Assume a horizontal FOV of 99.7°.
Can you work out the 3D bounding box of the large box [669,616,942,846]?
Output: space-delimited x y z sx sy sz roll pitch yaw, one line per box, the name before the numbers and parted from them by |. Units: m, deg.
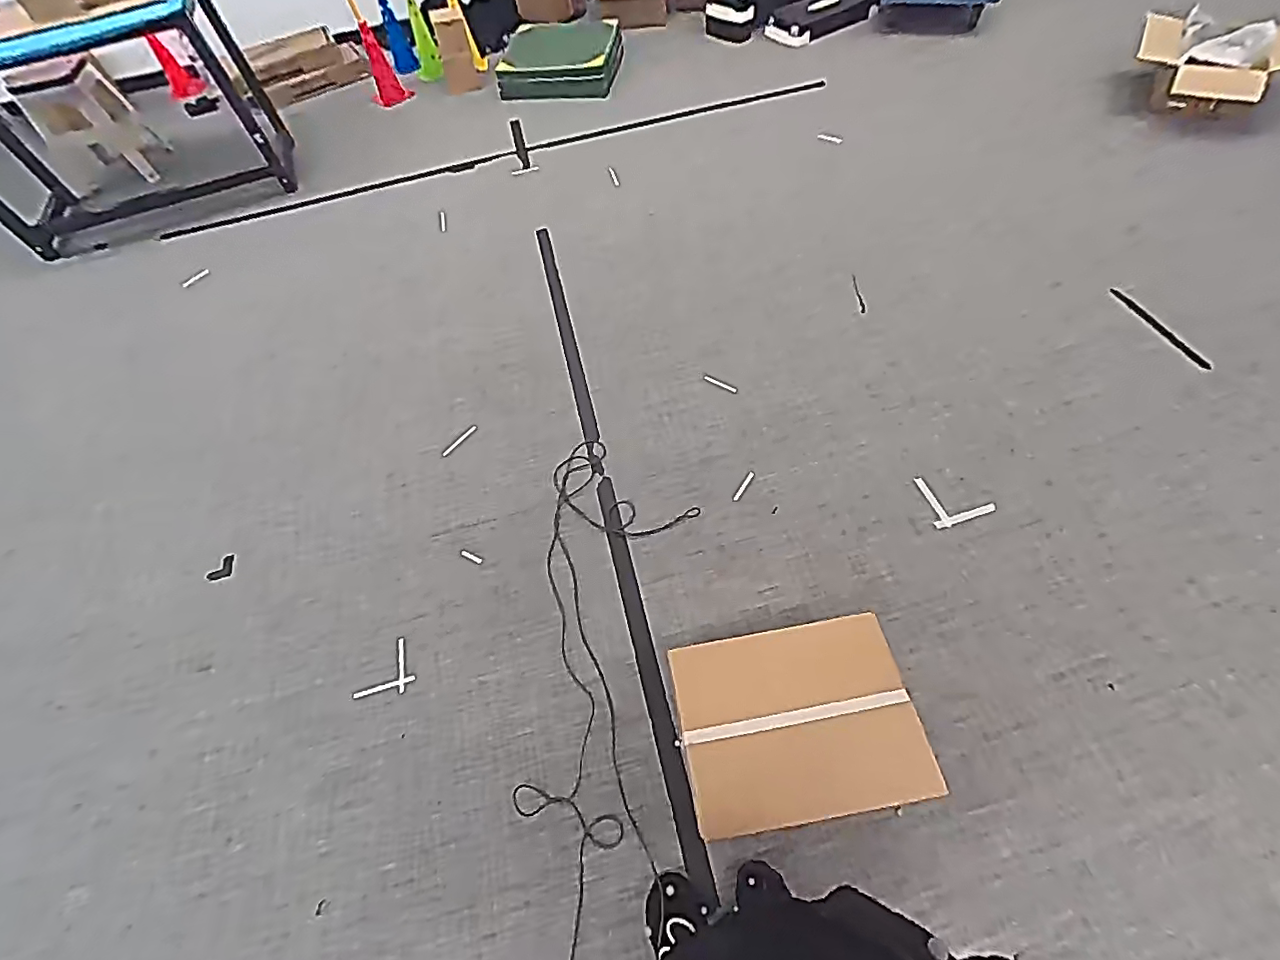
large box | 0.288 0.503 1.078 0.408 0.320 0.320 -11 56 -1
